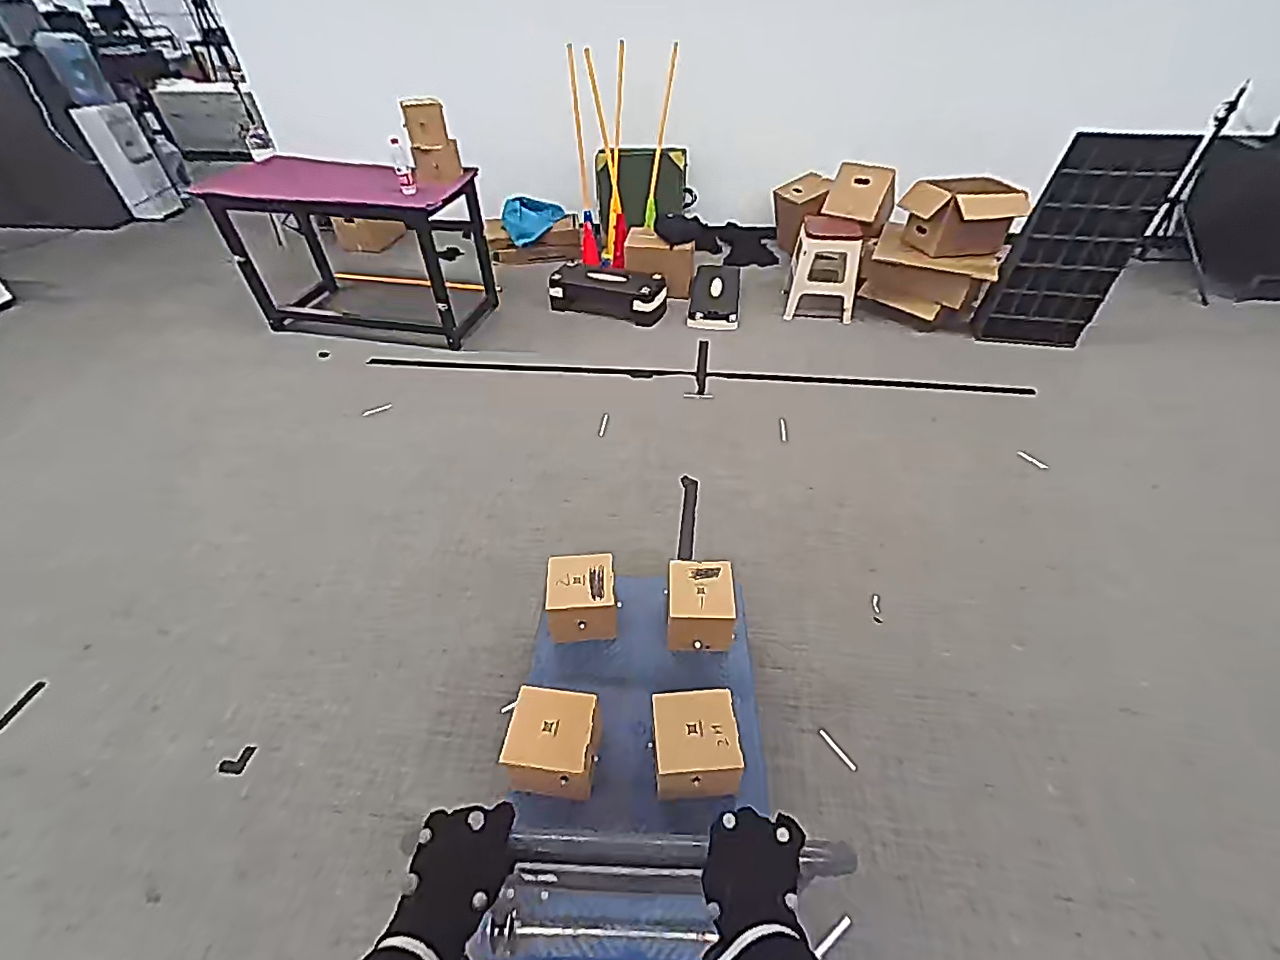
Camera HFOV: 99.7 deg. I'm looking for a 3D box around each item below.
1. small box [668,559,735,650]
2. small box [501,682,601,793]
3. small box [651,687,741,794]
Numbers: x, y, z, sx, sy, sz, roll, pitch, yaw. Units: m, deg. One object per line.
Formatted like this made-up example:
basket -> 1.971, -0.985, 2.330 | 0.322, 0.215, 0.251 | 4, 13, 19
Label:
small box -> 0.160, 0.333, 1.452 | 0.168, 0.176, 0.179 | 1, 45, 3
small box -> -0.189, 0.576, 1.208 | 0.179, 0.176, 0.168 | 6, 44, 5
small box -> 0.118, 0.579, 1.198 | 0.179, 0.176, 0.168 | -3, 44, -2
